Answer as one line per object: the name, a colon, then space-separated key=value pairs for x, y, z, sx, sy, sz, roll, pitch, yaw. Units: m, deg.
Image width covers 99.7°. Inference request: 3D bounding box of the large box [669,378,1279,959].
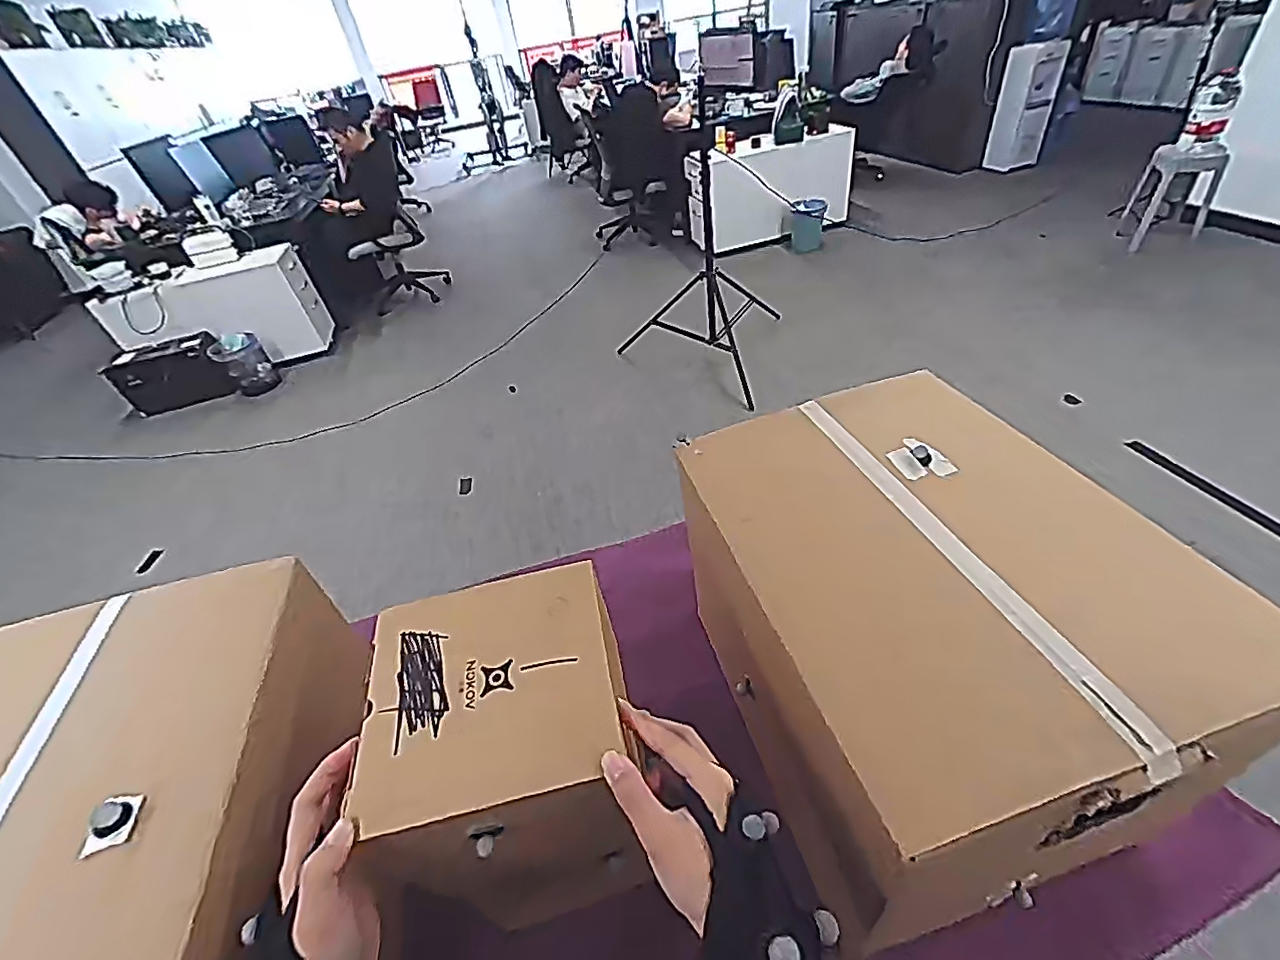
large box: x=0.255 y=0.154 z=0.550 sx=0.320 sy=0.320 sz=0.408 roll=-16 pitch=39 yaw=-8
